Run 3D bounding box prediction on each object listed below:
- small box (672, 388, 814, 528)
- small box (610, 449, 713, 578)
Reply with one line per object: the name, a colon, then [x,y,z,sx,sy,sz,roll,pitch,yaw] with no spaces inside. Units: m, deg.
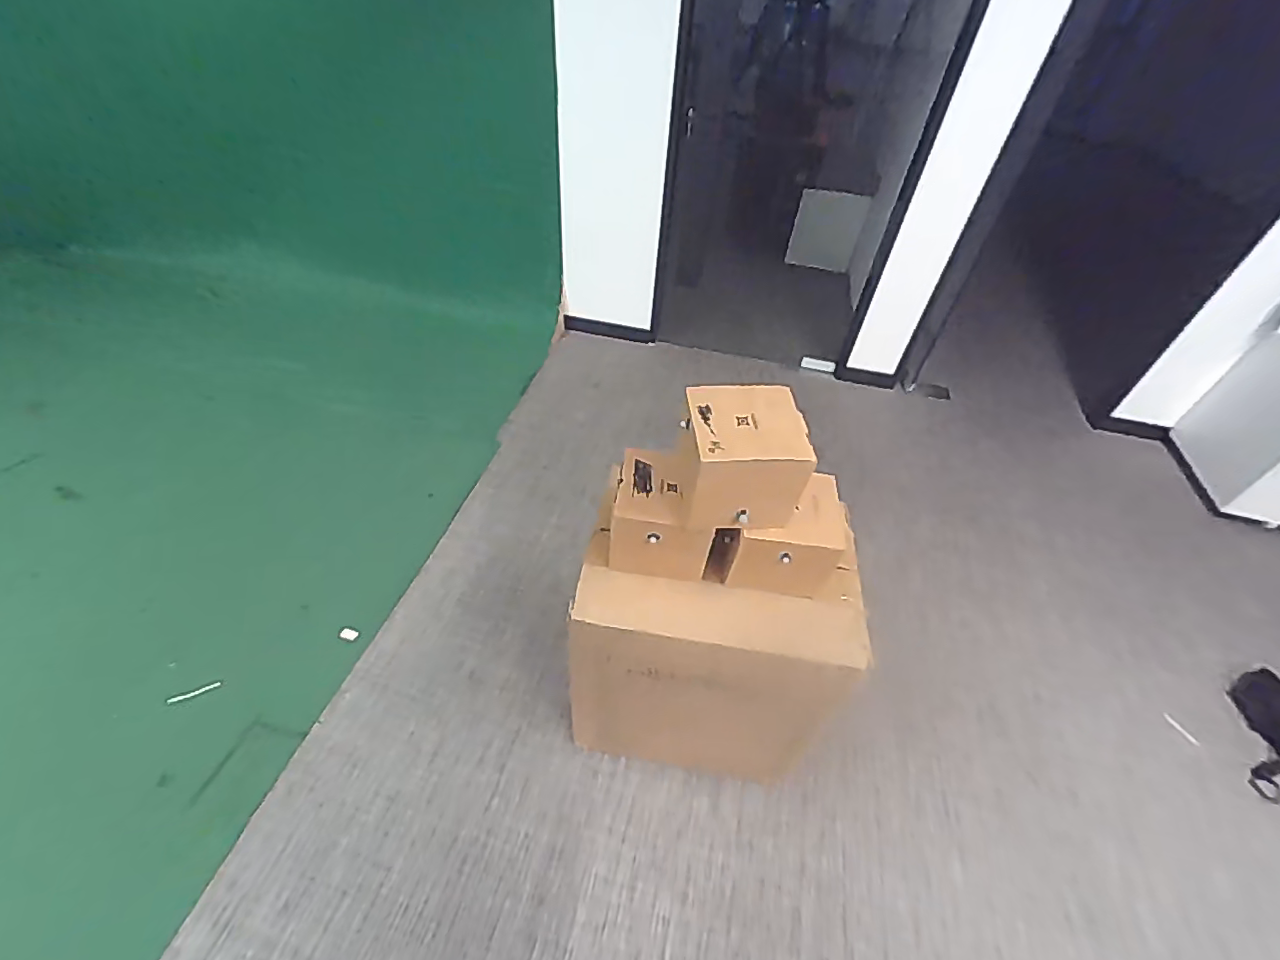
small box: [0.157,-0.033,0.893,0.179,0.176,0.168,0,49,-7]
small box: [0.041,0.066,1.013,0.179,0.176,0.168,8,49,1]
